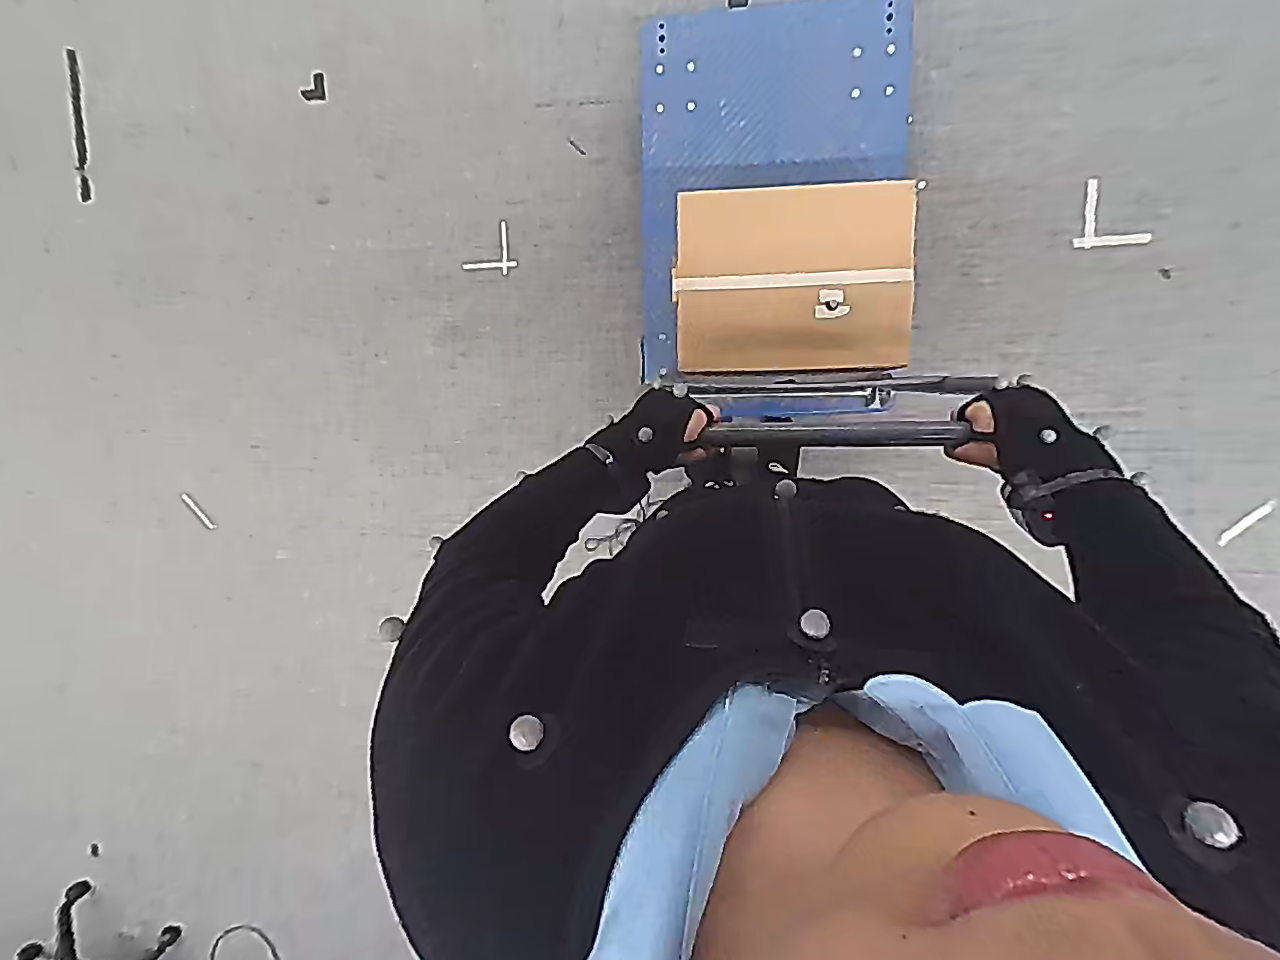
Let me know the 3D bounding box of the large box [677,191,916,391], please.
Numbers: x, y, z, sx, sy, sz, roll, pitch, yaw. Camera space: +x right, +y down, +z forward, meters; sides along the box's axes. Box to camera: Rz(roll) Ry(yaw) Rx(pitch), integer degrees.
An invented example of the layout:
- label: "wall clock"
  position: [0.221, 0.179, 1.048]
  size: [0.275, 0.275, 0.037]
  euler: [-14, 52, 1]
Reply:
- label: "large box"
  position: [0.281, -0.347, 1.087]
  size: [0.408, 0.320, 0.320]
  euler: [0, 98, 5]
